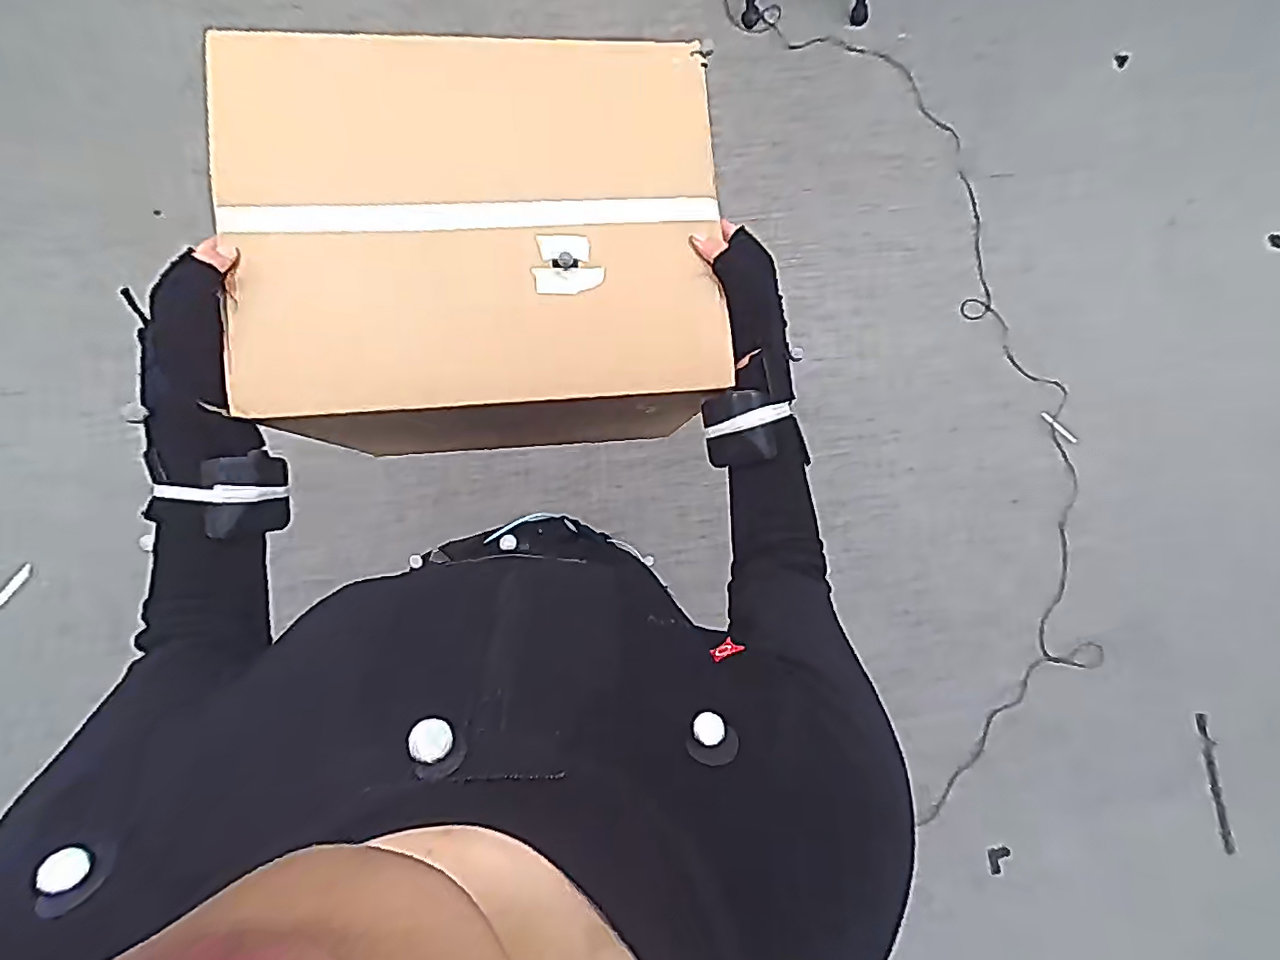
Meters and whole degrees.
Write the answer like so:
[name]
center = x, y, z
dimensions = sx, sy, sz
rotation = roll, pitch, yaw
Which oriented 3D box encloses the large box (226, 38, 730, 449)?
[large box]
center = -0.150, -0.219, 0.608
dimensions = 0.408, 0.320, 0.320
rotation = -5, 89, -8
